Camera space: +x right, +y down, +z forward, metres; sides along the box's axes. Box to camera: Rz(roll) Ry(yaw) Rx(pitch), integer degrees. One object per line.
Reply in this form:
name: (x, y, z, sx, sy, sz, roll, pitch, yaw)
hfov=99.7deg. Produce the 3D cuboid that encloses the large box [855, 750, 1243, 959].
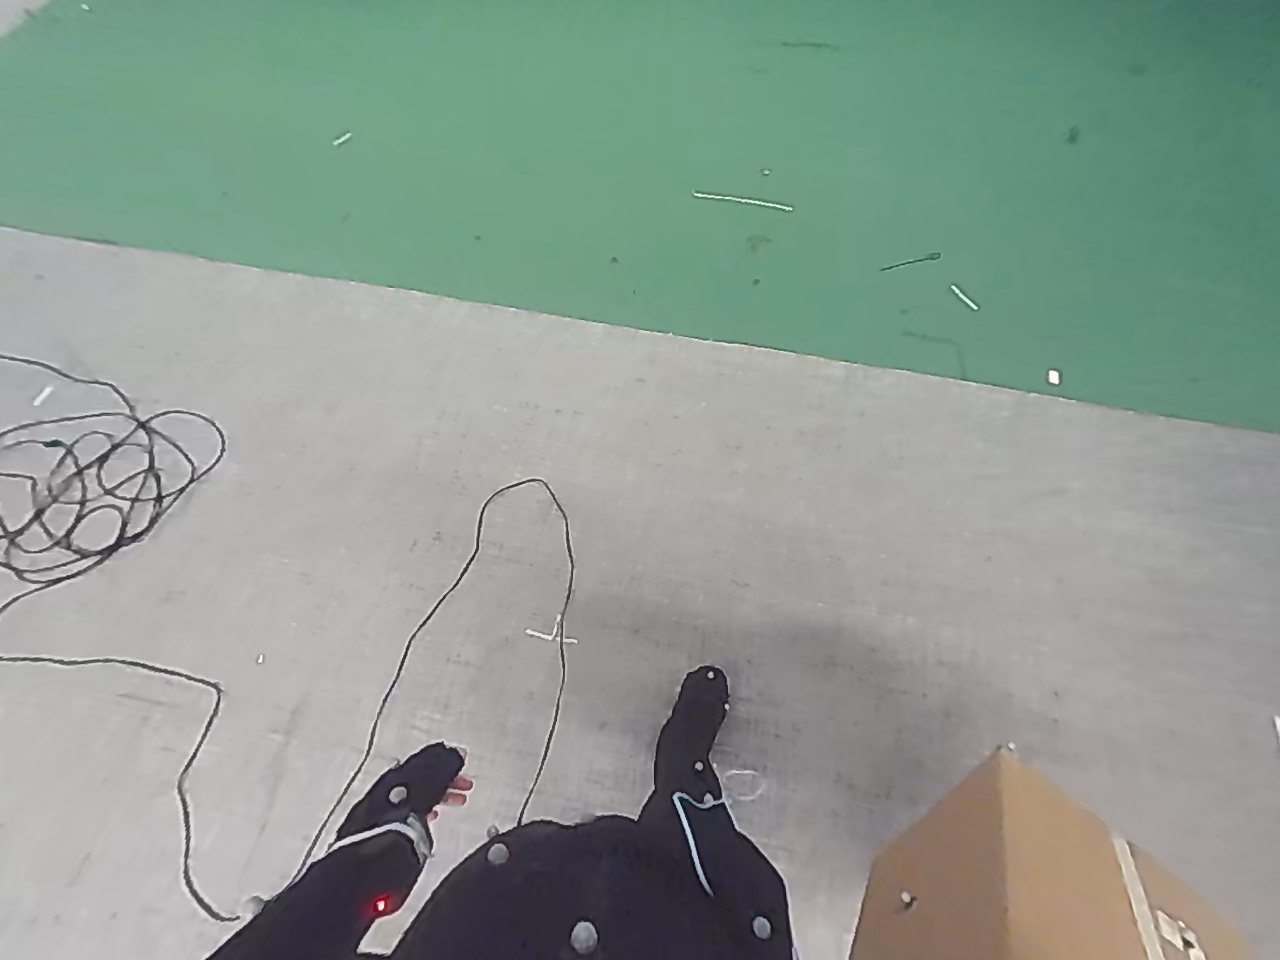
large box: (0.468, 0.629, 0.632, 0.320, 0.408, 0.320, 39, 115, 22)
